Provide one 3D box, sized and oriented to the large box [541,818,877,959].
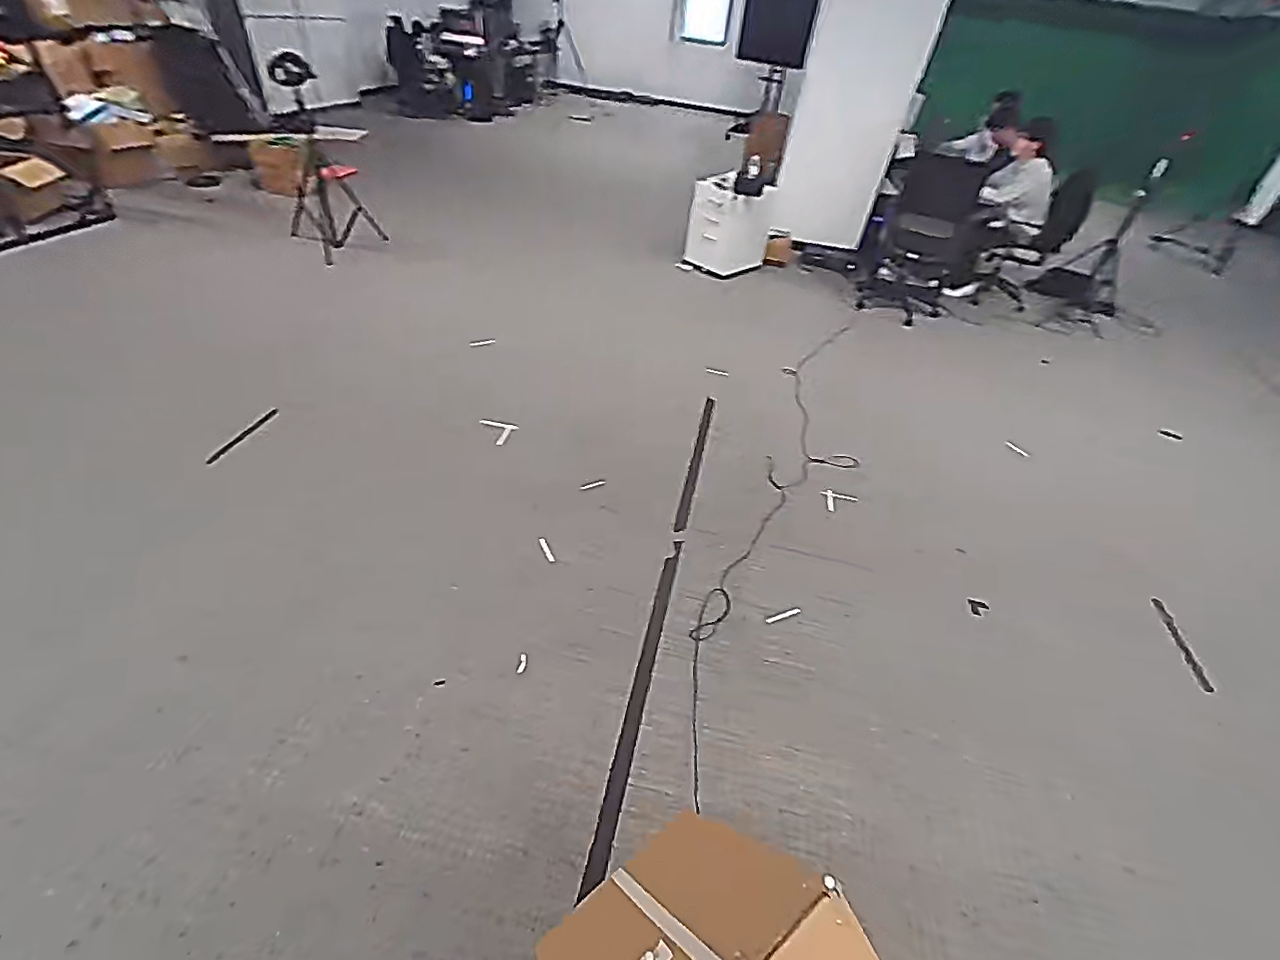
[{"bbox_3d":[0.111,0.722,0.703,0.320,0.408,0.320,-26,82,-27],"label":"large box"}]
